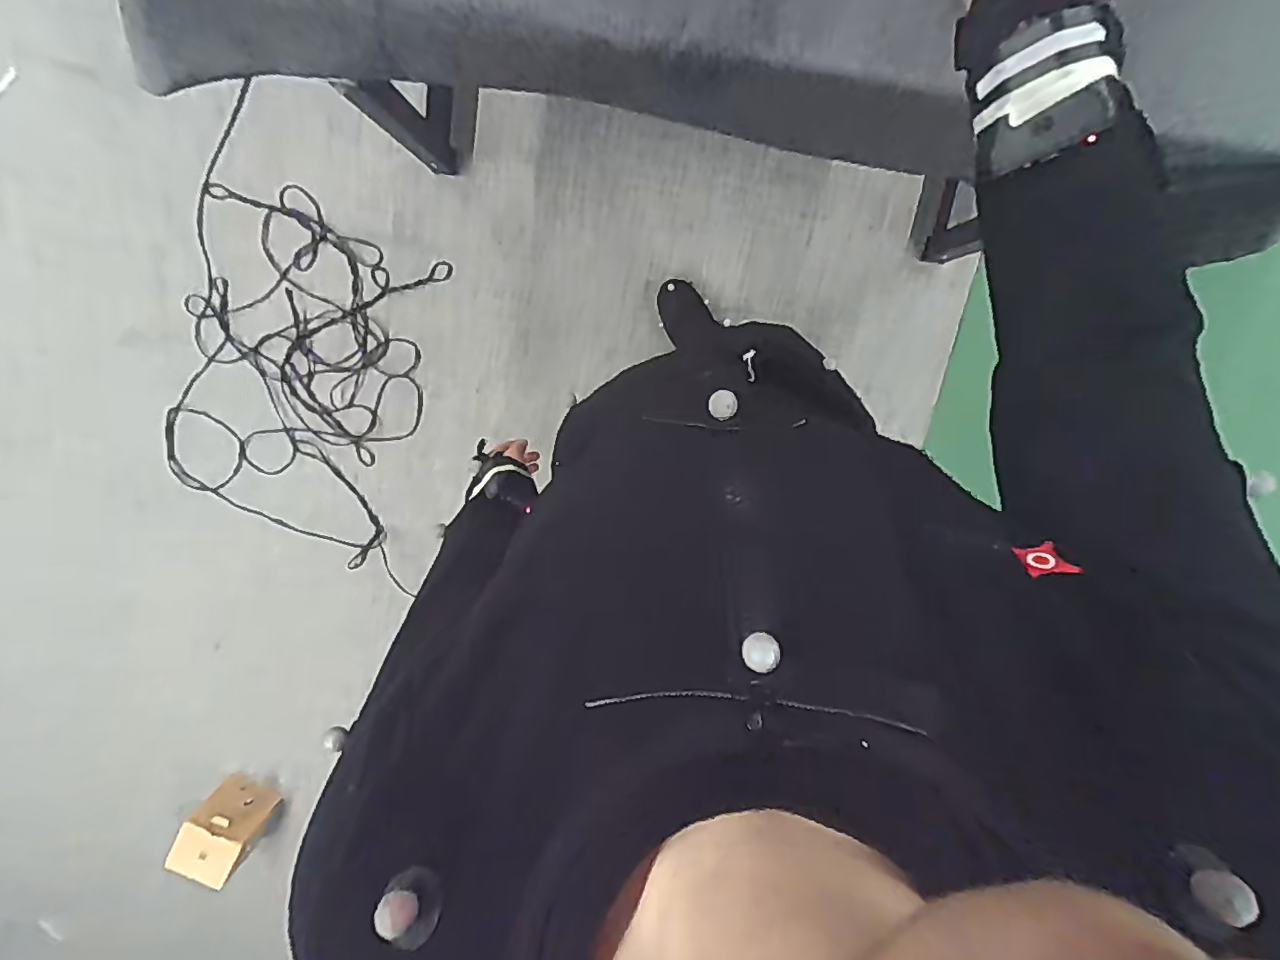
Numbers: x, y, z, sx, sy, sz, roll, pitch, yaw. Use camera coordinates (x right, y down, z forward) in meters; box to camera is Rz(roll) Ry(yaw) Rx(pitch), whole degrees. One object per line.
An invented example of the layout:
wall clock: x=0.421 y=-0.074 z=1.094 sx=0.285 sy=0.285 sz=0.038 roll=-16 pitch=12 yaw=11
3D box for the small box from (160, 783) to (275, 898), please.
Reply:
small box: x=-1.174 y=1.003 z=1.515 sx=0.168 sy=0.176 sz=0.179 roll=29 pitch=101 yaw=-5
